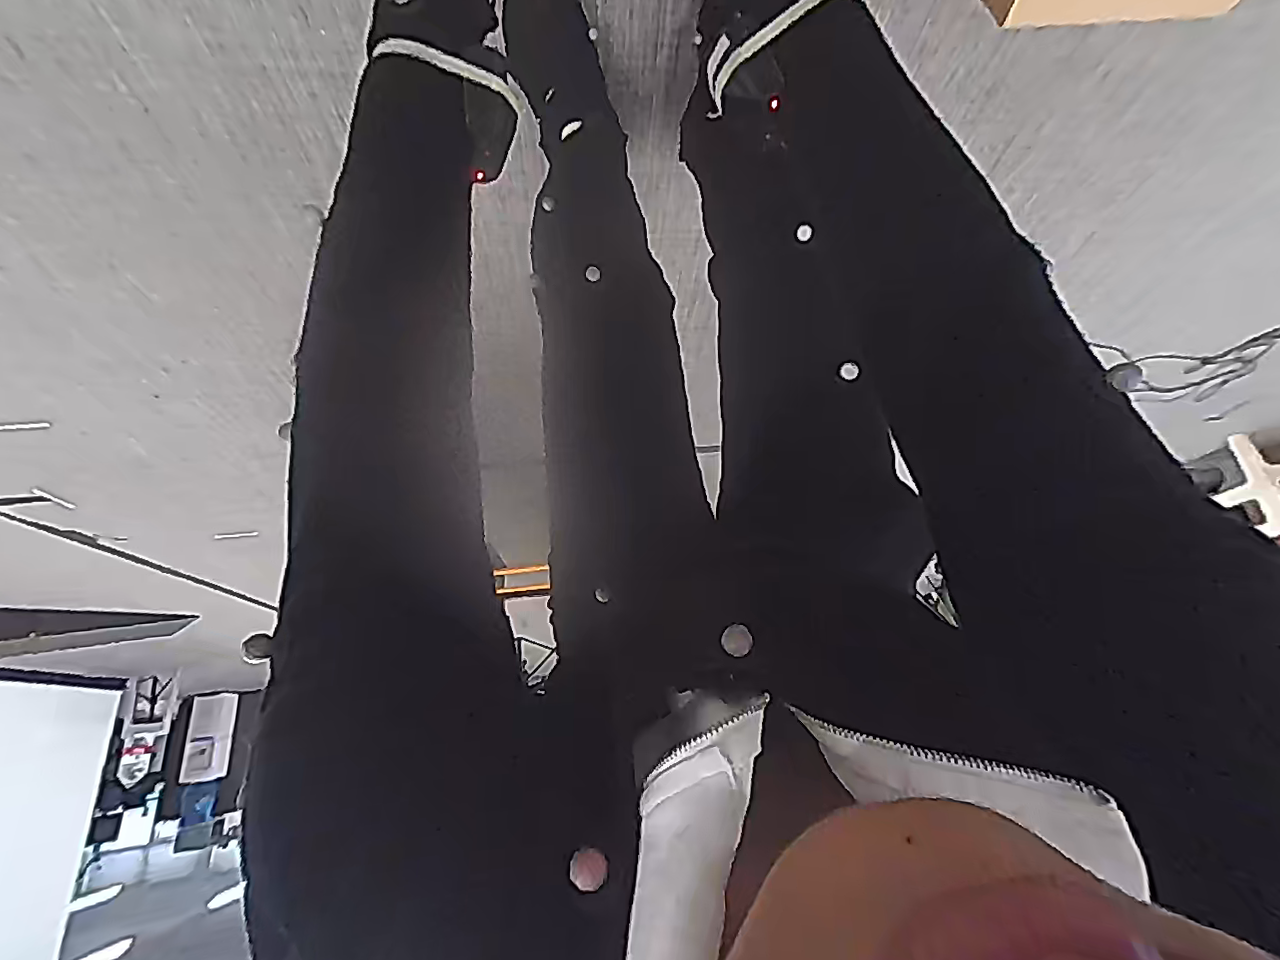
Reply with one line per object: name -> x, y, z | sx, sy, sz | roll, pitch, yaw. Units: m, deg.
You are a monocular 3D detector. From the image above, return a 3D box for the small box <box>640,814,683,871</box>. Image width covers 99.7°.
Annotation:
small box -> 0.090, 1.546, 2.315 | 0.168, 0.176, 0.179 | -5, 158, -1

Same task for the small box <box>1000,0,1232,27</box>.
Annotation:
small box -> 0.312, -0.423, 0.324 | 0.168, 0.176, 0.179 | -6, 156, -3
